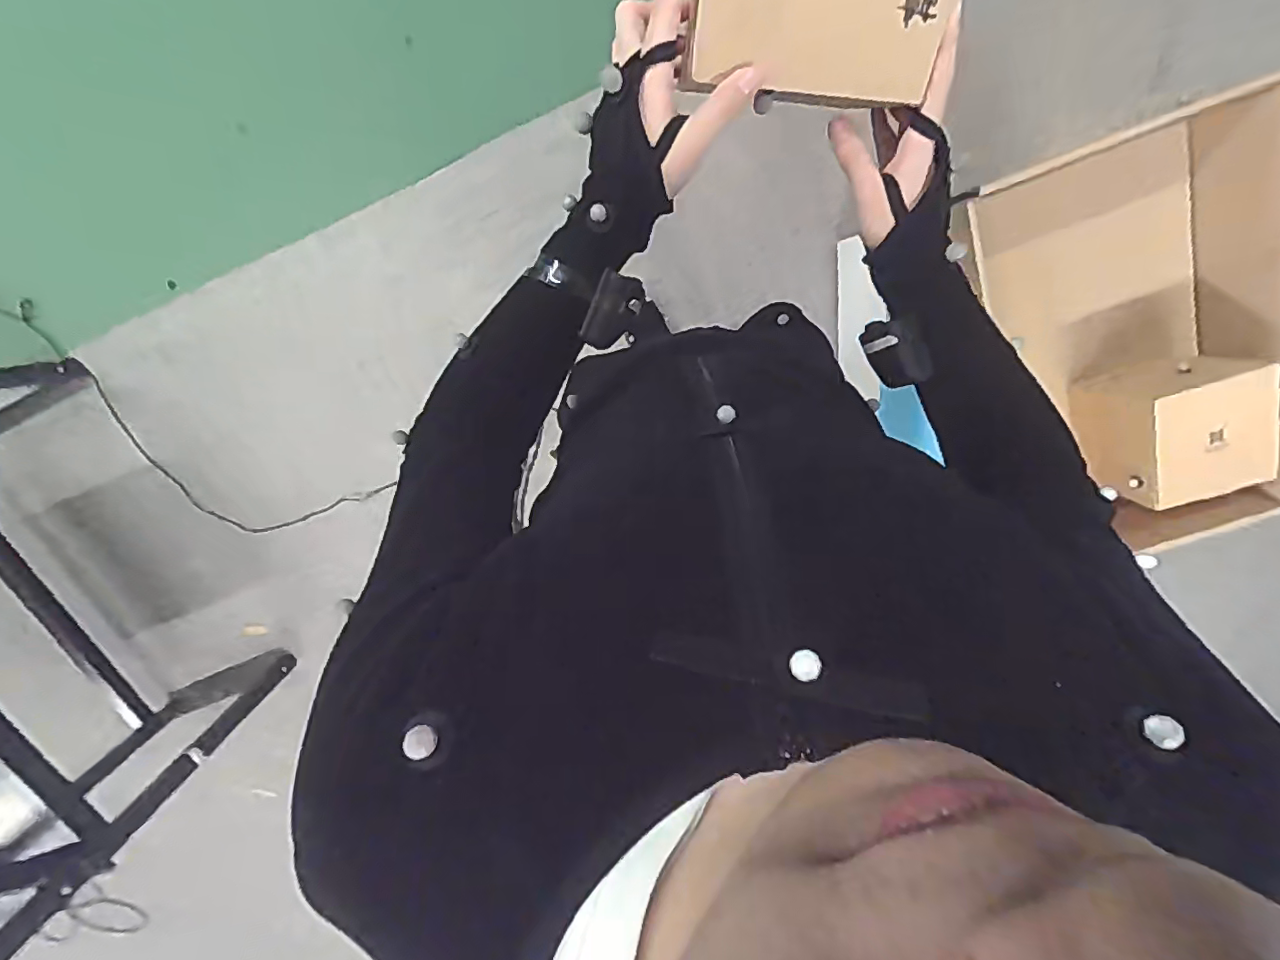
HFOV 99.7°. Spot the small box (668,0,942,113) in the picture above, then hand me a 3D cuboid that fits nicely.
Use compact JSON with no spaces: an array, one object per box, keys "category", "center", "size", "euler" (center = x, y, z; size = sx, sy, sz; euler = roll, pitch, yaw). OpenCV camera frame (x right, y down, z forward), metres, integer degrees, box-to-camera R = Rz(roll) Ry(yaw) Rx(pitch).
[{"category":"small box","center":[0.118,-0.388,0.413],"size":[0.179,0.176,0.168],"euler":[4,124,-4]}]
